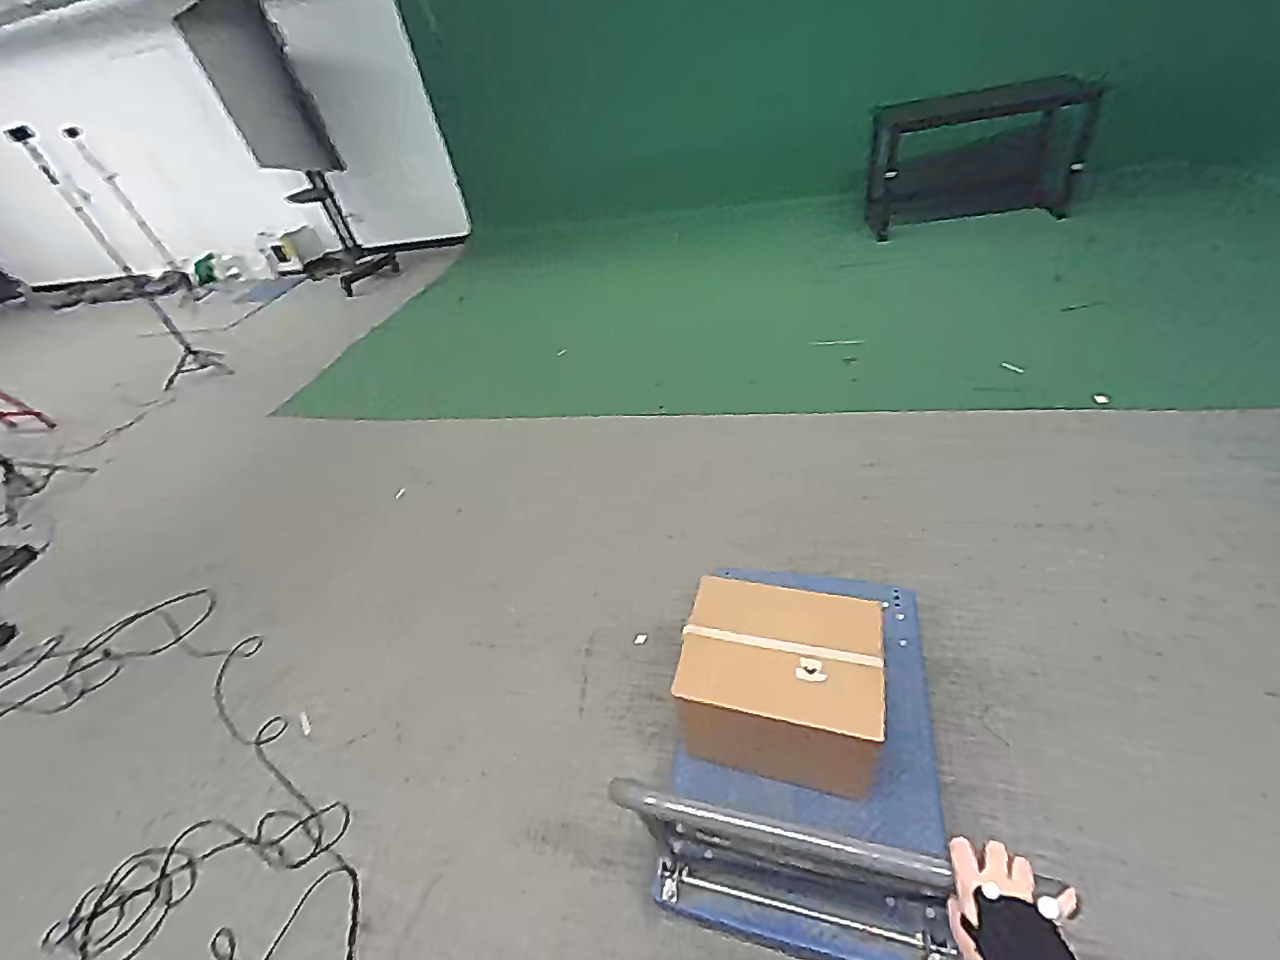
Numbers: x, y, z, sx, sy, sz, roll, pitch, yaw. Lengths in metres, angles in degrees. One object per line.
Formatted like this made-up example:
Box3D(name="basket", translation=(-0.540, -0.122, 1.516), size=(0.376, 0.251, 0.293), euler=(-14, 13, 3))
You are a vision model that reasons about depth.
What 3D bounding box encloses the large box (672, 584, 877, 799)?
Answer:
Box3D(name="large box", translation=(0.311, 0.482, 1.260), size=(0.408, 0.320, 0.320), euler=(6, 43, 18))
